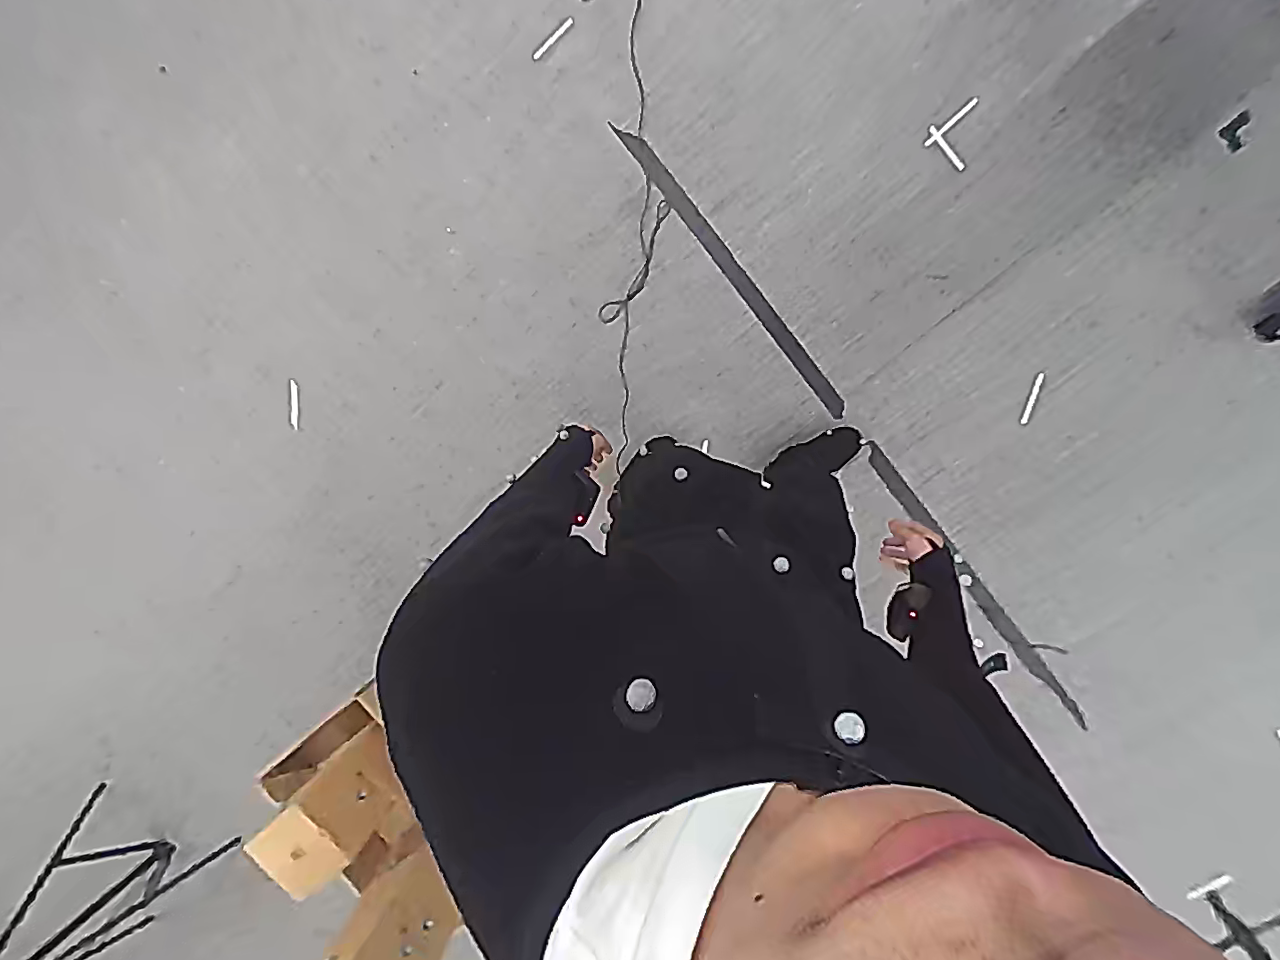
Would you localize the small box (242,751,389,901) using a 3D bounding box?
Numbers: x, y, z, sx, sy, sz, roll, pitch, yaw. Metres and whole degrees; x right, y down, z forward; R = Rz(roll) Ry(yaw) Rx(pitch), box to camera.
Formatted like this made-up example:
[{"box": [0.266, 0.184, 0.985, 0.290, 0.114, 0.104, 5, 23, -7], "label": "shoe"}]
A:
[{"box": [-0.687, 0.735, 1.165, 0.179, 0.176, 0.168, -42, 94, 11], "label": "small box"}]

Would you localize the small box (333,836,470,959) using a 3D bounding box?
[{"box": [-0.510, 0.936, 1.182, 0.179, 0.176, 0.168, -38, 94, 12], "label": "small box"}]
